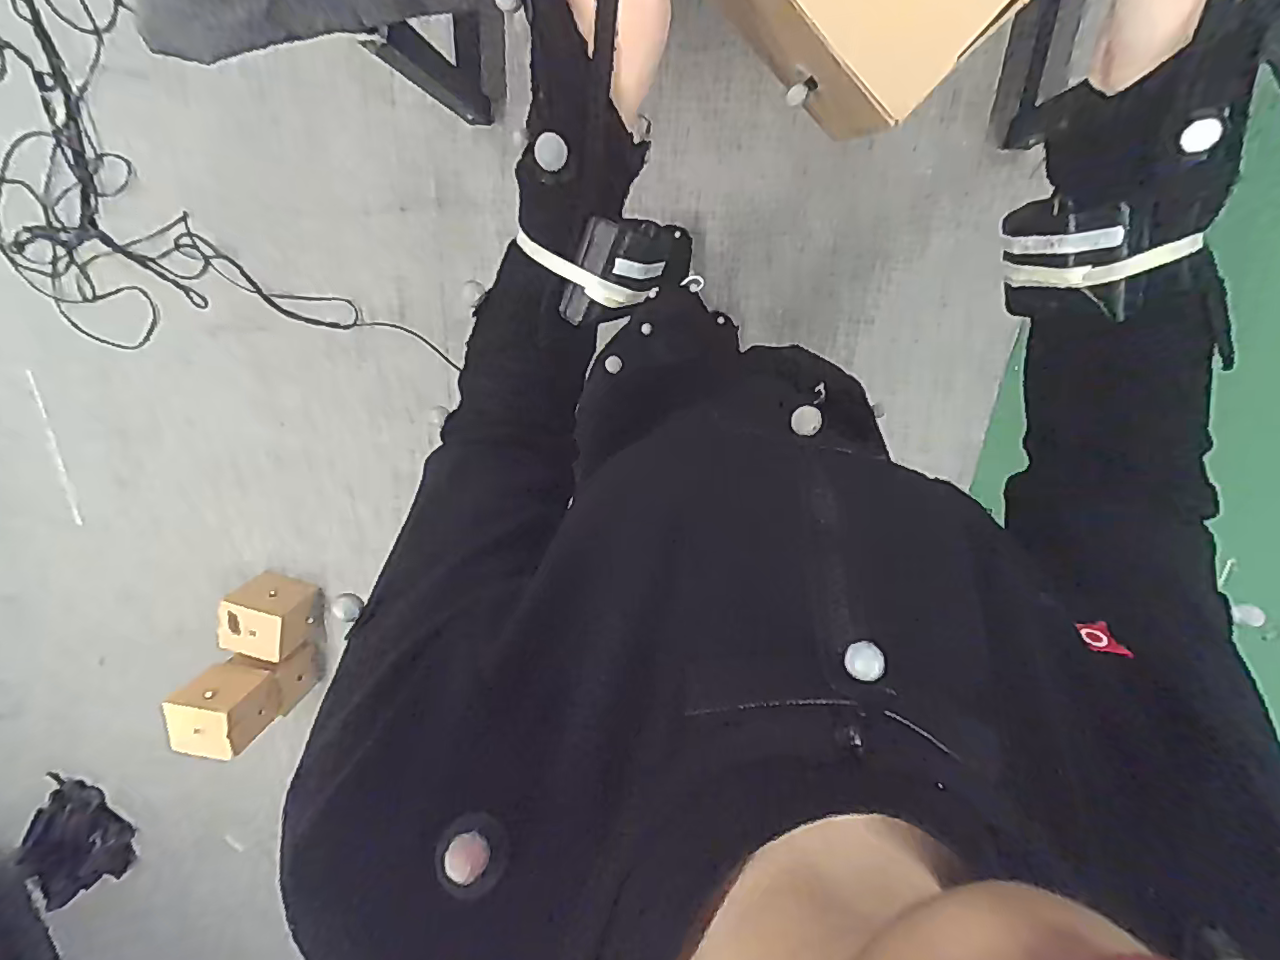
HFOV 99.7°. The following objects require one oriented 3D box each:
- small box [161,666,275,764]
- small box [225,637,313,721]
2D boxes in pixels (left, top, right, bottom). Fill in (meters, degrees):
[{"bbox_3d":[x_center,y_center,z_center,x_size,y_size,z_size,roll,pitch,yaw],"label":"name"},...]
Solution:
[{"bbox_3d":[-1.151,0.638,1.487,0.179,0.176,0.168,8,109,2],"label":"small box"},{"bbox_3d":[-1.123,0.599,1.644,0.179,0.176,0.168,8,110,2],"label":"small box"}]
